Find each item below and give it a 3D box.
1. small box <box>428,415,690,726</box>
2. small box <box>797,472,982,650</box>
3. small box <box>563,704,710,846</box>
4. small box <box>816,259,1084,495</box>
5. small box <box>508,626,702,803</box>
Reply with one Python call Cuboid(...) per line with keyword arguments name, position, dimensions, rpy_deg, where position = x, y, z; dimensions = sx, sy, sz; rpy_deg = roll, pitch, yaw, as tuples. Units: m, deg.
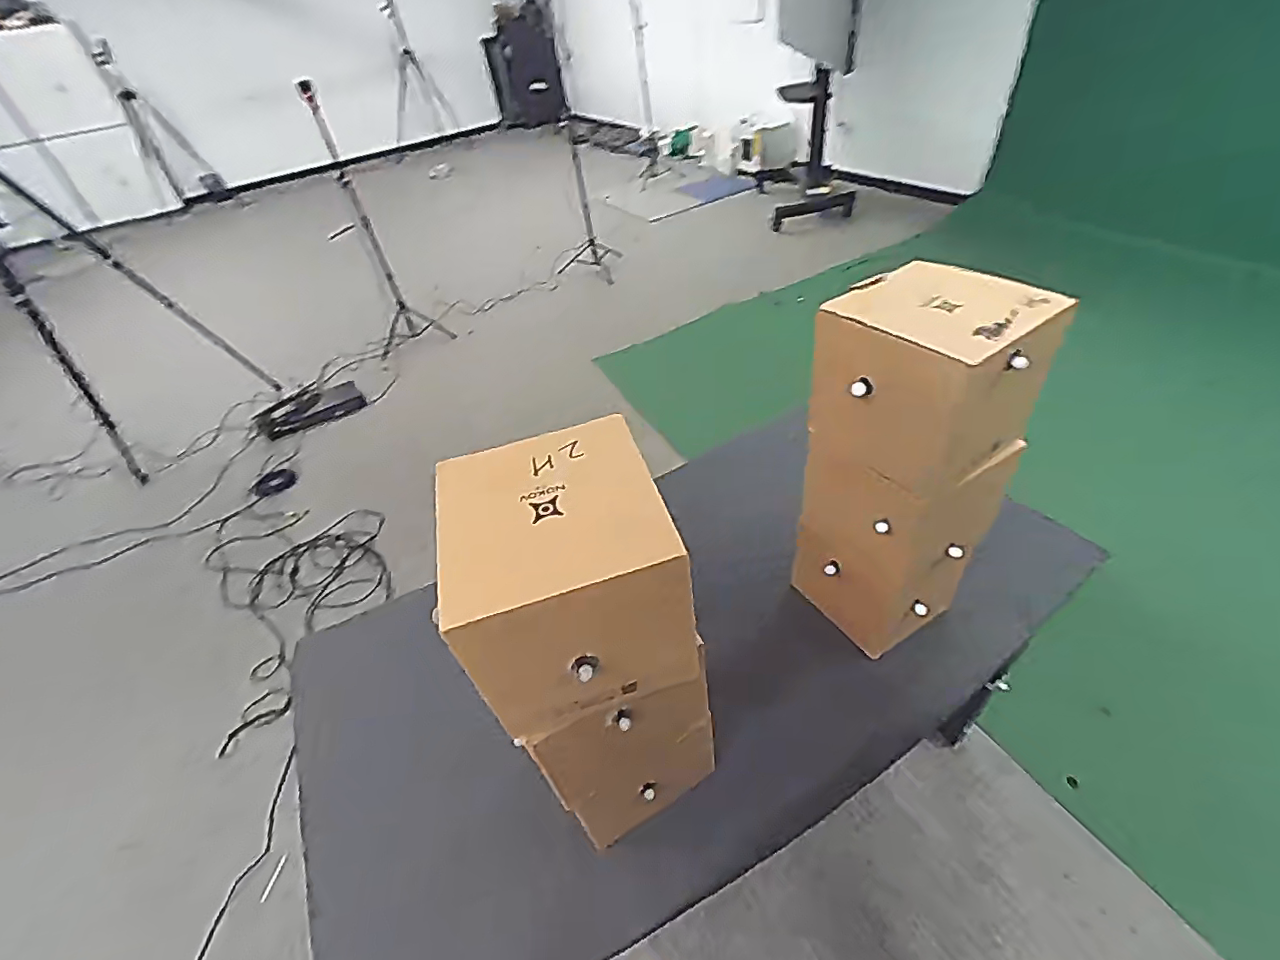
Cuboid(name="small box", position=(-0.062, 0.079, 0.449), dimensions=(0.168, 0.176, 0.179), rpy_deg=(-16, 43, -7))
Cuboid(name="small box", position=(0.356, 0.125, 0.806), dimensions=(0.168, 0.176, 0.179), rpy_deg=(-26, 44, -17))
Cuboid(name="small box", position=(-0.027, 0.311, 0.676), dimensions=(0.179, 0.176, 0.168), rpy_deg=(-26, 44, -16))
Cuboid(name="small box", position=(0.312, -0.114, 0.585), dimensions=(0.168, 0.176, 0.179), rpy_deg=(-29, 45, -19))
Cuboid(name="small box", position=(-0.048, 0.196, 0.564), dimensions=(0.179, 0.176, 0.168), rpy_deg=(-24, 45, -16))
